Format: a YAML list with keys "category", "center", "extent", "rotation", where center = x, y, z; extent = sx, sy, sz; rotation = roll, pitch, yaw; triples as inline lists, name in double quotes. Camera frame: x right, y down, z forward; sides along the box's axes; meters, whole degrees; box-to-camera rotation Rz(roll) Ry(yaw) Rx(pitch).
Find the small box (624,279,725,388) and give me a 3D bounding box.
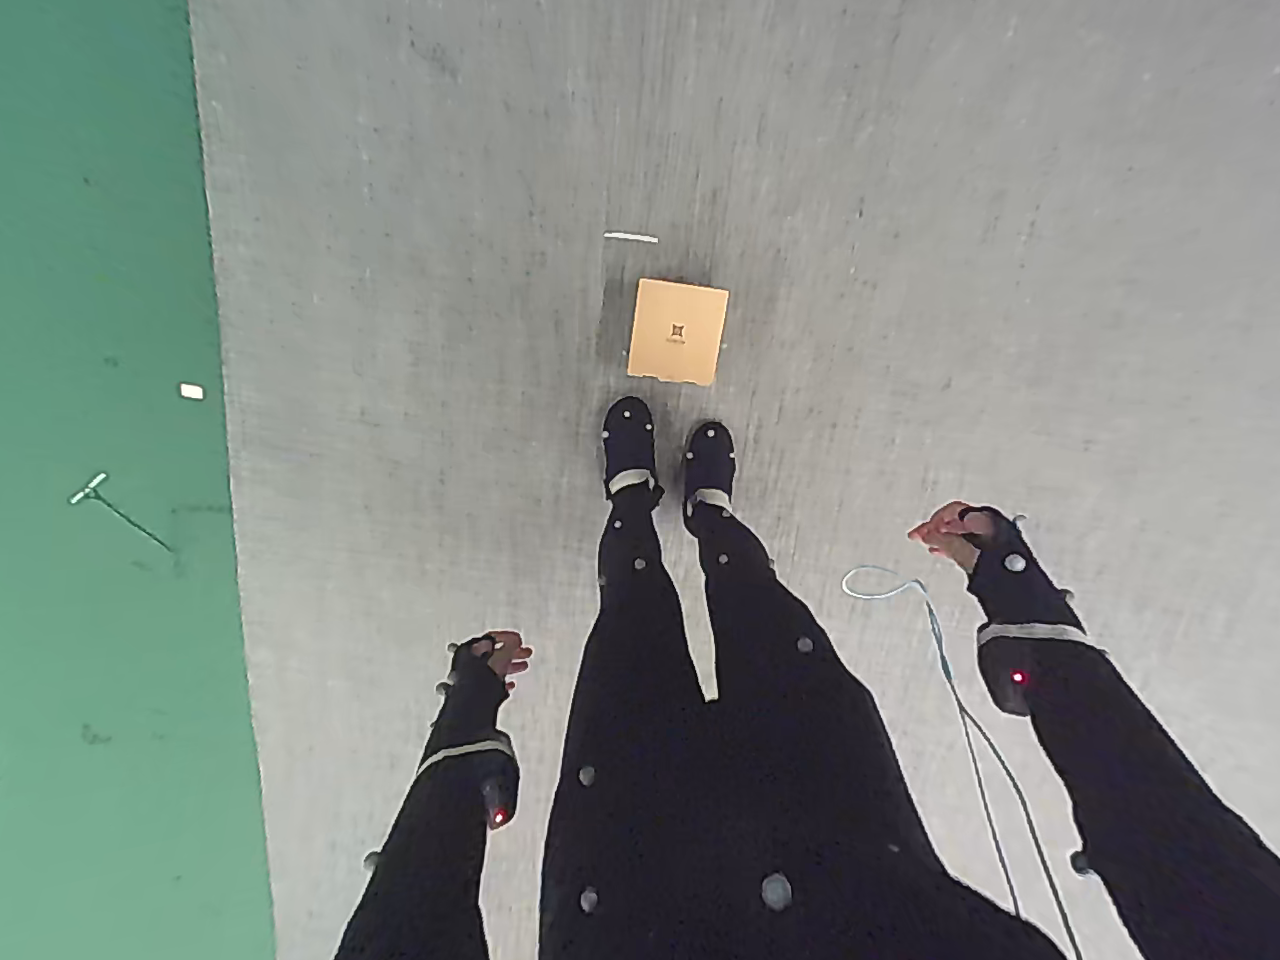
- category: "small box"
  center: [0.064, -0.288, 1.068]
  extent: [0.168, 0.176, 0.179]
  rotation: [8, 106, 0]
